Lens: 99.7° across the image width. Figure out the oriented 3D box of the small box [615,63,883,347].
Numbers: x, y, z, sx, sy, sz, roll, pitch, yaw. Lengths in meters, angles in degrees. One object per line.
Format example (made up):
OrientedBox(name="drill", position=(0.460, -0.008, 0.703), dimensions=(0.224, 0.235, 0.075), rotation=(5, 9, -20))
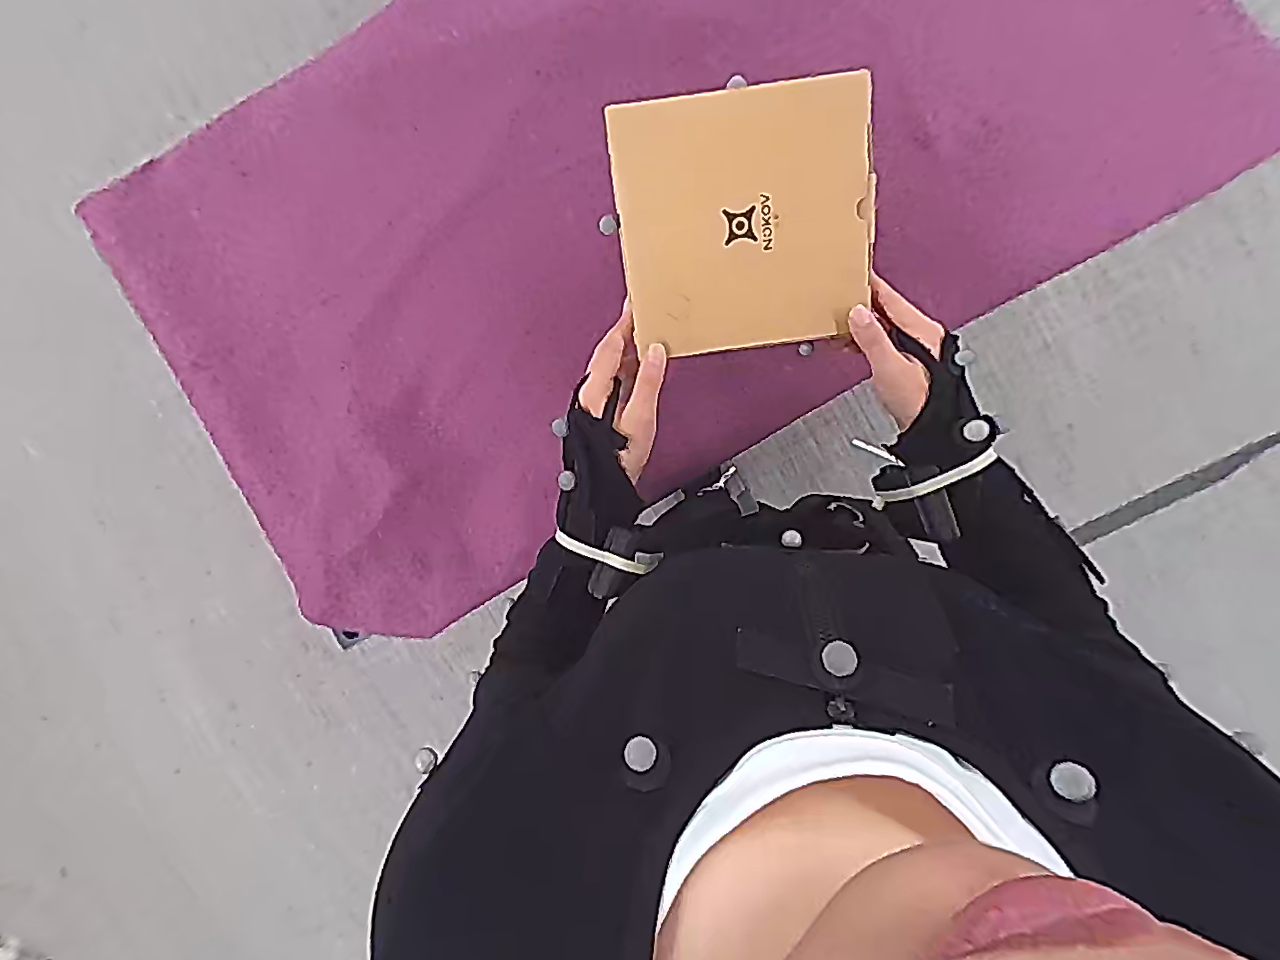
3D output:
OrientedBox(name="small box", position=(0.076, -0.204, 0.447), dimensions=(0.179, 0.176, 0.168), rotation=(-7, 108, -1))
